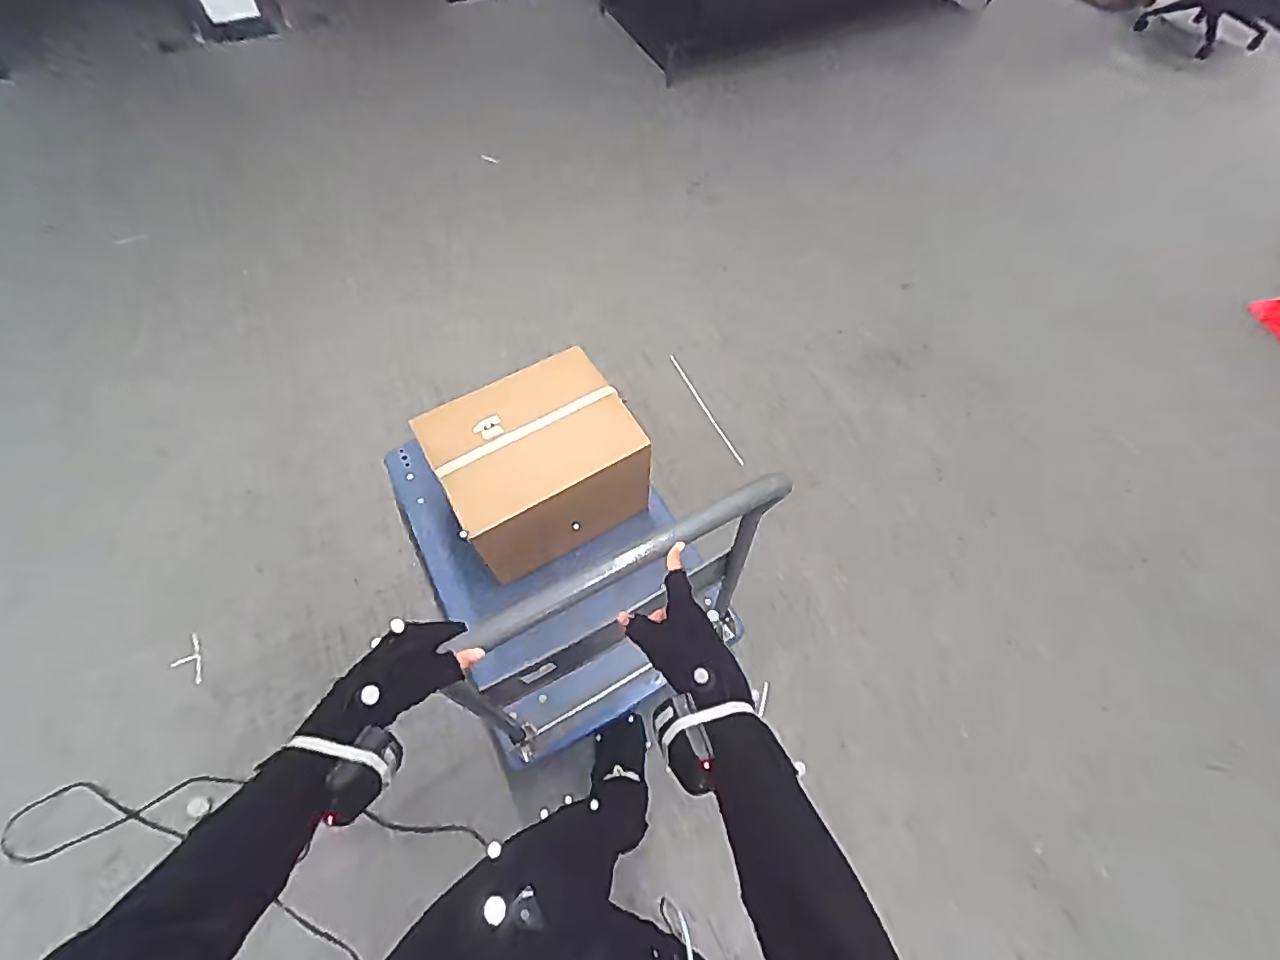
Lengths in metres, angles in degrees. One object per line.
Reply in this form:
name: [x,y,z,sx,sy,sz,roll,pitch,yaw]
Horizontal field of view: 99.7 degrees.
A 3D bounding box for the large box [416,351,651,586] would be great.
large box: [-0.223,-0.019,1.252,0.408,0.320,0.320,-30,66,-15]
